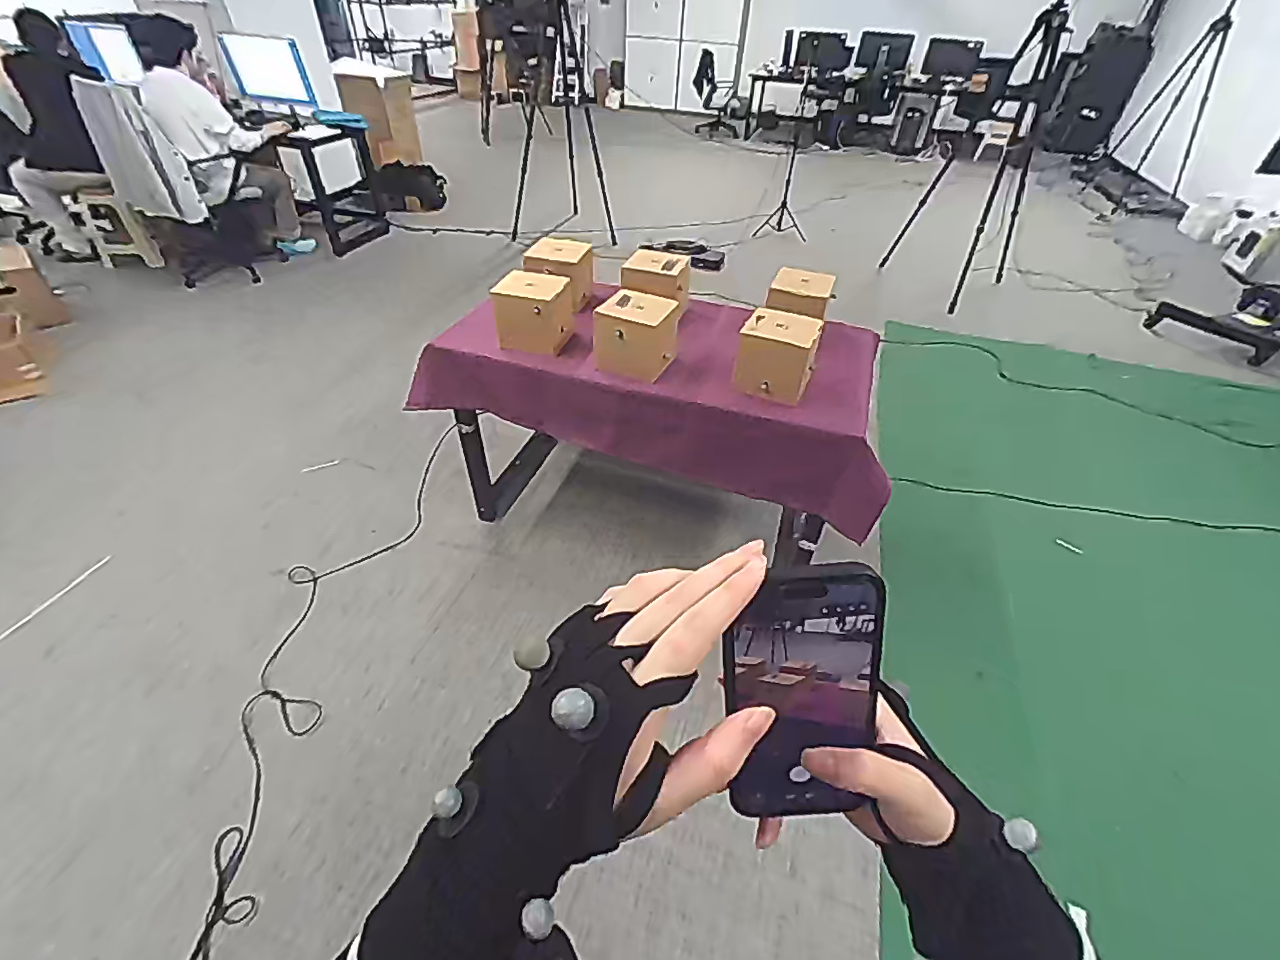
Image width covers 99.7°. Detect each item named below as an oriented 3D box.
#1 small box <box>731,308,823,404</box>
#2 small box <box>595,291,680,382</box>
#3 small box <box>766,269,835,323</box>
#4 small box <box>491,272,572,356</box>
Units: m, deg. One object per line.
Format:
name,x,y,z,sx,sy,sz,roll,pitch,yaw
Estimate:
small box,0.352,-0.317,1.401,0.179,0.176,0.168,20,44,17
small box,-0.008,-0.385,1.457,0.179,0.176,0.168,19,44,16
small box,0.469,-0.509,1.620,0.168,0.176,0.179,16,44,16
small box,-0.300,-0.470,1.536,0.179,0.176,0.168,11,42,7
